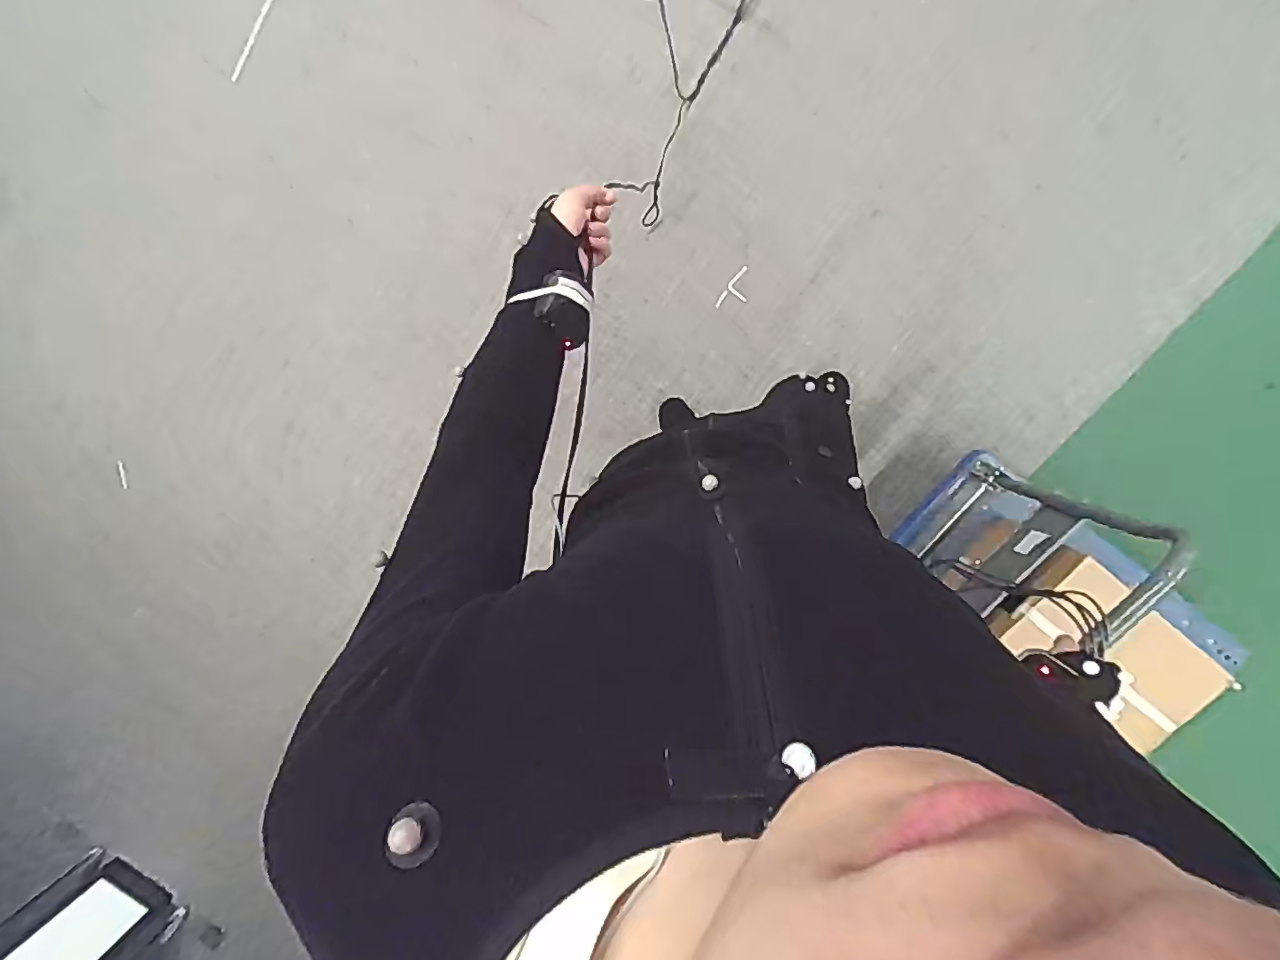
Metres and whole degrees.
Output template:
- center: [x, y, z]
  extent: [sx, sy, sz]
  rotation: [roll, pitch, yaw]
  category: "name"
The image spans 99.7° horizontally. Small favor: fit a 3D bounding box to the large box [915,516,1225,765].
- center: [0.949, 0.347, 1.258]
  extent: [0.408, 0.320, 0.320]
  rotation: [39, 103, -3]
  category: "large box"
